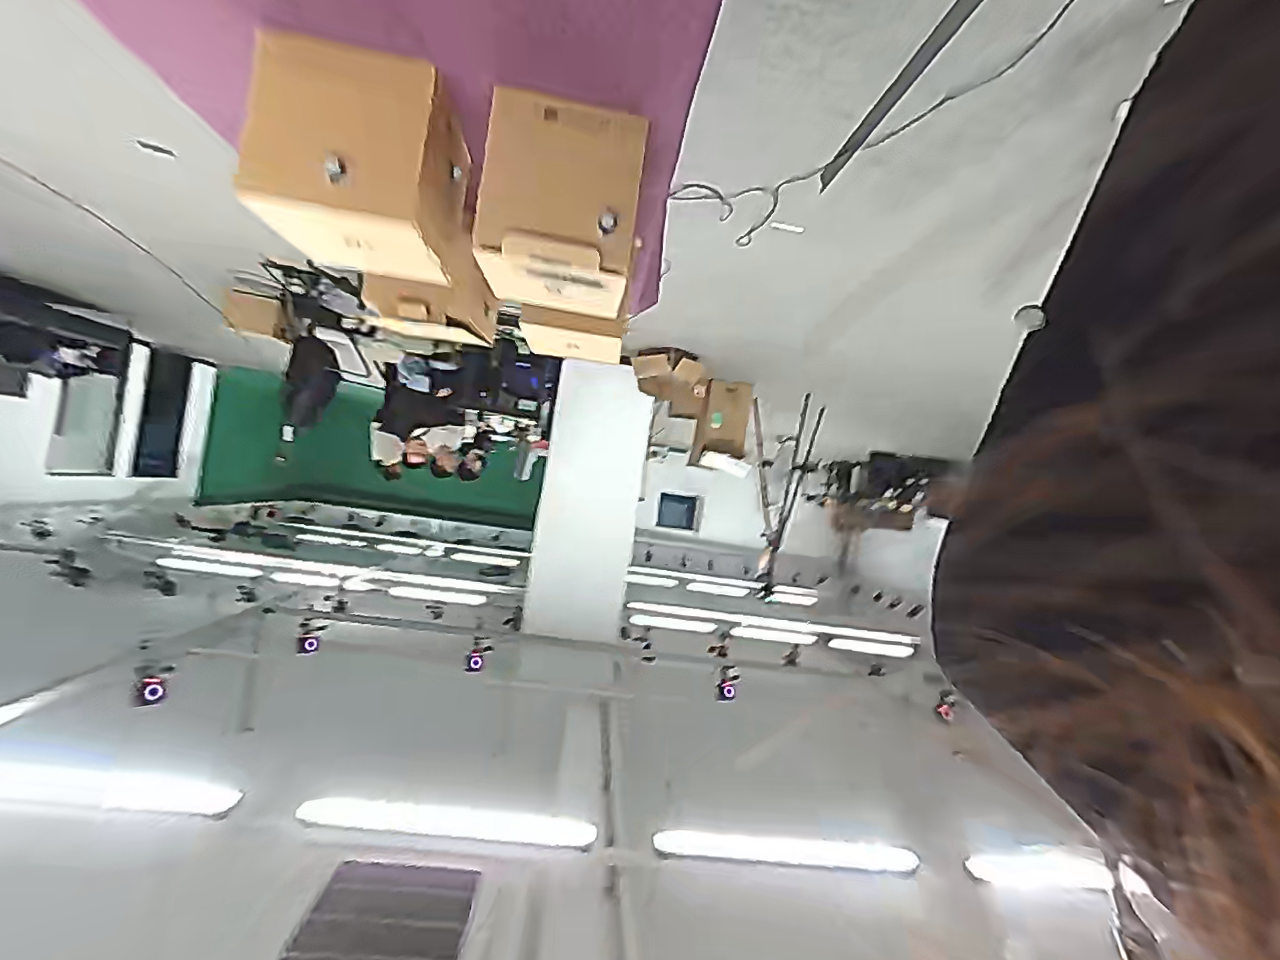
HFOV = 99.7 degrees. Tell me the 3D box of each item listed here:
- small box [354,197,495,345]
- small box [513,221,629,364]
[{"bbox_3d":[-0.353,-0.345,0.918,0.168,0.176,0.179,8,178,-3],"label":"small box"},{"bbox_3d":[-0.113,-0.312,0.927,0.168,0.176,0.179,8,178,-5],"label":"small box"}]
